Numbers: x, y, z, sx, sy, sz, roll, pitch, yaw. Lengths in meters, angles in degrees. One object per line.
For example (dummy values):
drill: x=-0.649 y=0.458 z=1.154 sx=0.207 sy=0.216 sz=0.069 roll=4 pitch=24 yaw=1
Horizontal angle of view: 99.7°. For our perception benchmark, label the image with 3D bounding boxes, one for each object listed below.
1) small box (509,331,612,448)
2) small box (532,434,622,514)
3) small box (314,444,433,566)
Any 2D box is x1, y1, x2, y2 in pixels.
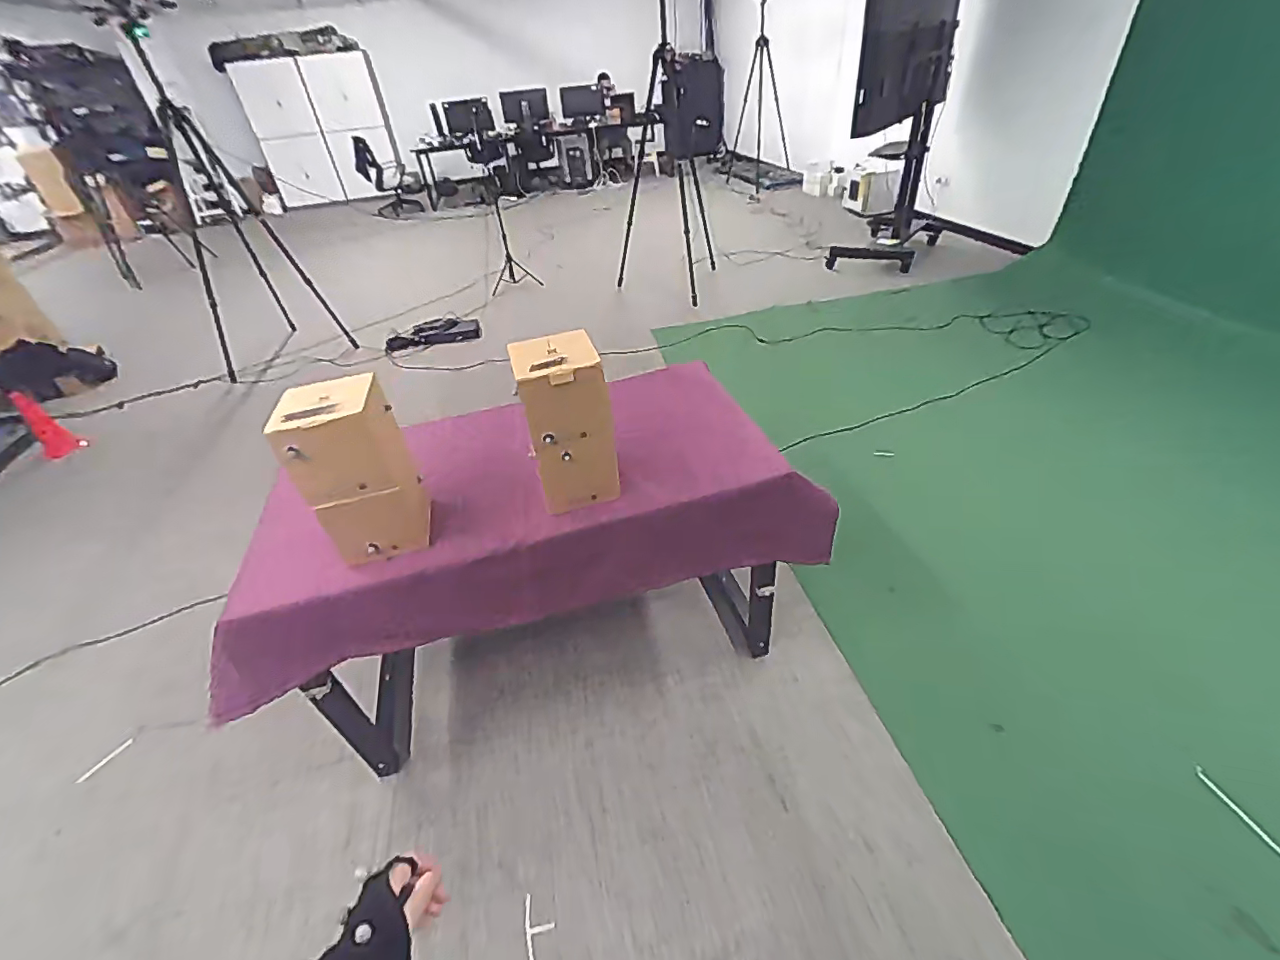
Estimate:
small box: x=-0.161 y=-0.180 z=1.110 sx=0.168 sy=0.176 sz=0.179 roll=-14 pitch=38 yaw=-10
small box: x=-0.147 y=-0.051 z=1.211 sx=0.168 sy=0.176 sz=0.179 roll=-15 pitch=38 yaw=-8
small box: x=-0.549 y=0.052 z=1.142 sx=0.168 sy=0.176 sz=0.179 roll=-14 pitch=39 yaw=-8
